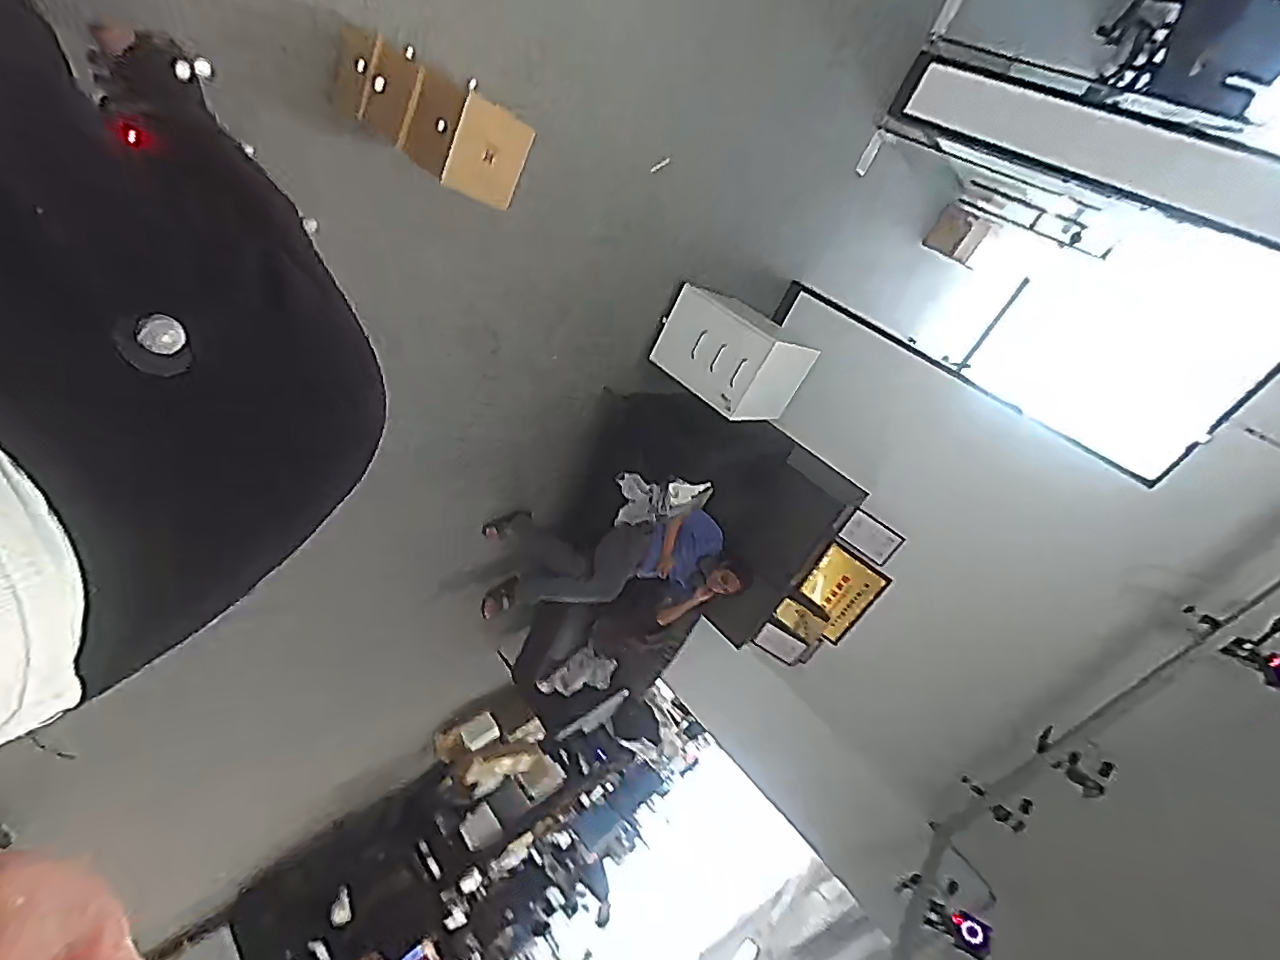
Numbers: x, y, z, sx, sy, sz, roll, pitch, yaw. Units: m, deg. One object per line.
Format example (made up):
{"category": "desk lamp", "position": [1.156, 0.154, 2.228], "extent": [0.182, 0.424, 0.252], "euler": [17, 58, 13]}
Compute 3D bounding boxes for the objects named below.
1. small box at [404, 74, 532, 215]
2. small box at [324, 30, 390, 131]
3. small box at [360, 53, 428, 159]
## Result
{"category": "small box", "position": [-0.362, -0.696, 1.124], "extent": [0.168, 0.176, 0.179], "euler": [-5, 133, -53]}
{"category": "small box", "position": [-0.590, -0.891, 1.251], "extent": [0.179, 0.176, 0.168], "euler": [-6, 133, -55]}
{"category": "small box", "position": [-0.476, -0.791, 1.187], "extent": [0.179, 0.176, 0.168], "euler": [-3, 130, -55]}
